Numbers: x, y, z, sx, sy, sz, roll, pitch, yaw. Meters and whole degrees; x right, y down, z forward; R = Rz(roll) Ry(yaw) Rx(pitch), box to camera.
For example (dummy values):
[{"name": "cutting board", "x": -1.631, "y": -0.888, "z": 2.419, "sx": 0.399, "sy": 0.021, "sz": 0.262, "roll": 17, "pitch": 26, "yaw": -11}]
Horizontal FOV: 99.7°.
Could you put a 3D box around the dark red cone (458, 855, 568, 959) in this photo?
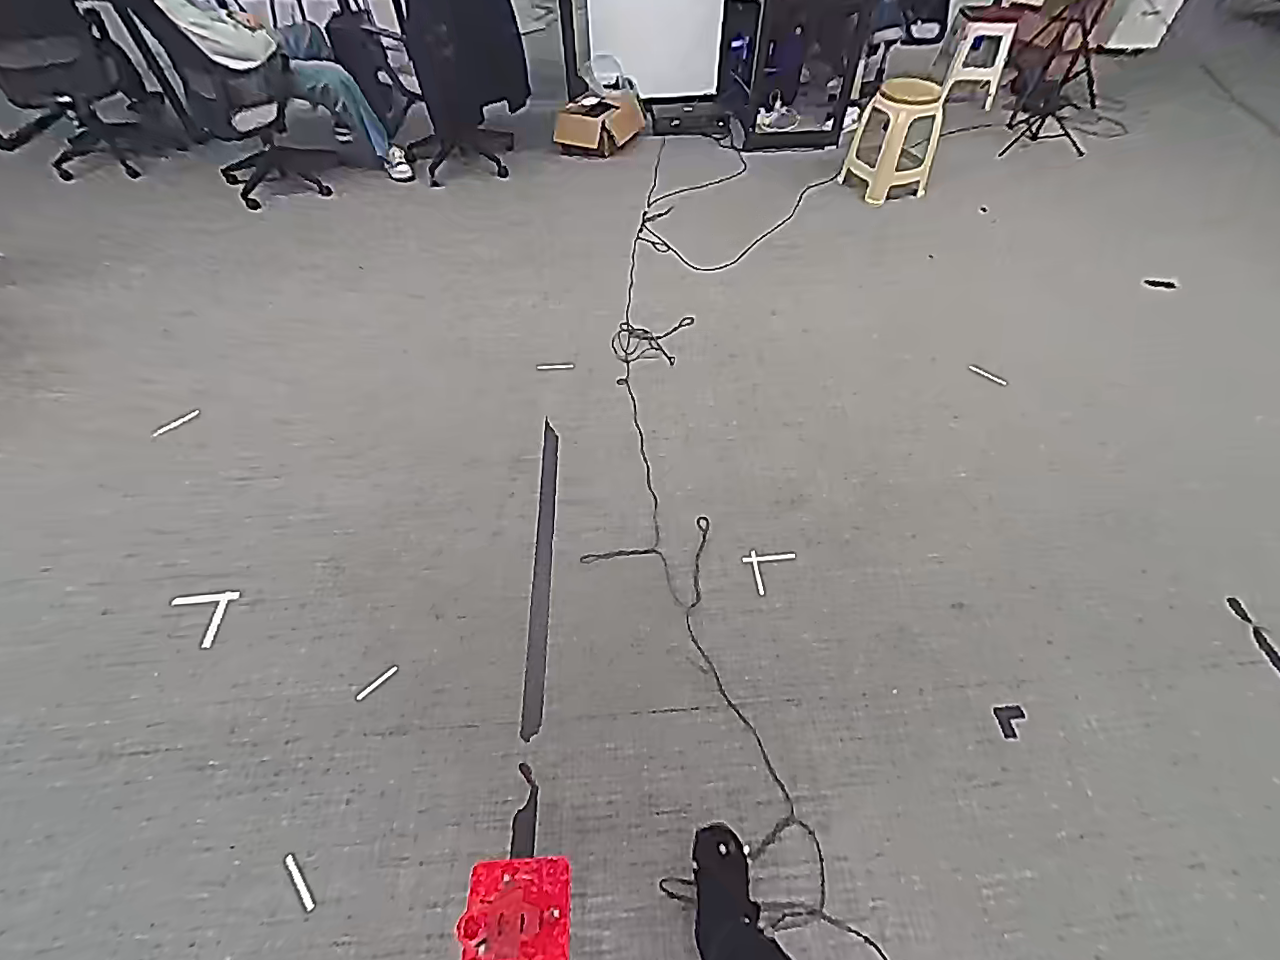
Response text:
[{"name": "dark red cone", "x": -0.235, "y": 0.731, "z": 0.890, "sx": 0.201, "sy": 0.394, "sz": 0.202, "roll": -3, "pitch": 51, "yaw": -3}]
